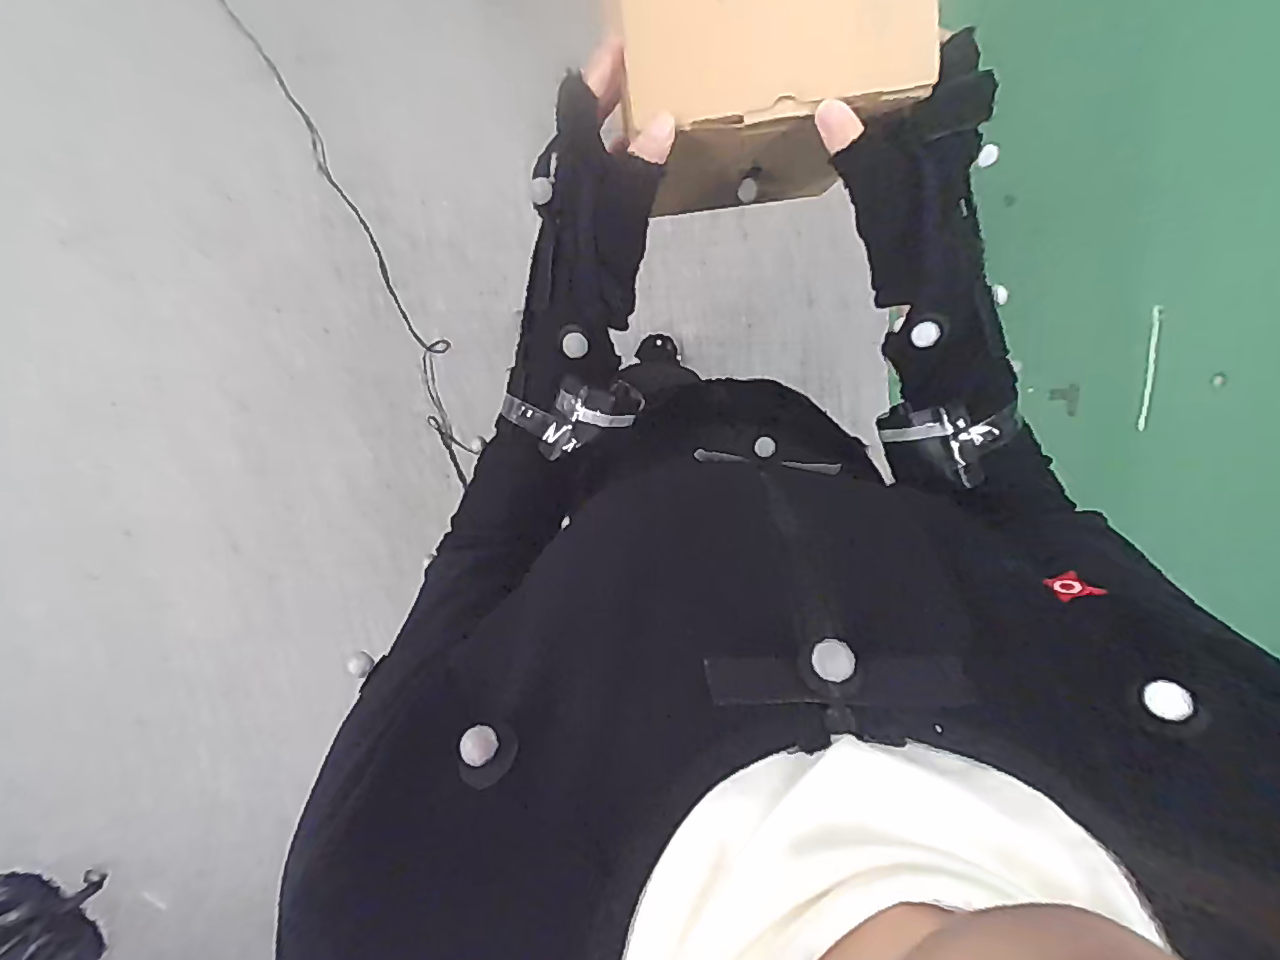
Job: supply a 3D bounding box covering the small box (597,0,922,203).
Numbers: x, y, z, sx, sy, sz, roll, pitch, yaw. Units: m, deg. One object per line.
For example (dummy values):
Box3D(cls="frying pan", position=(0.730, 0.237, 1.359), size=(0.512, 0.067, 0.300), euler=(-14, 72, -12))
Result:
Box3D(cls="small box", position=(0.058, -0.295, 0.349), size=(0.168, 0.176, 0.179), euler=(-8, 103, 0))
